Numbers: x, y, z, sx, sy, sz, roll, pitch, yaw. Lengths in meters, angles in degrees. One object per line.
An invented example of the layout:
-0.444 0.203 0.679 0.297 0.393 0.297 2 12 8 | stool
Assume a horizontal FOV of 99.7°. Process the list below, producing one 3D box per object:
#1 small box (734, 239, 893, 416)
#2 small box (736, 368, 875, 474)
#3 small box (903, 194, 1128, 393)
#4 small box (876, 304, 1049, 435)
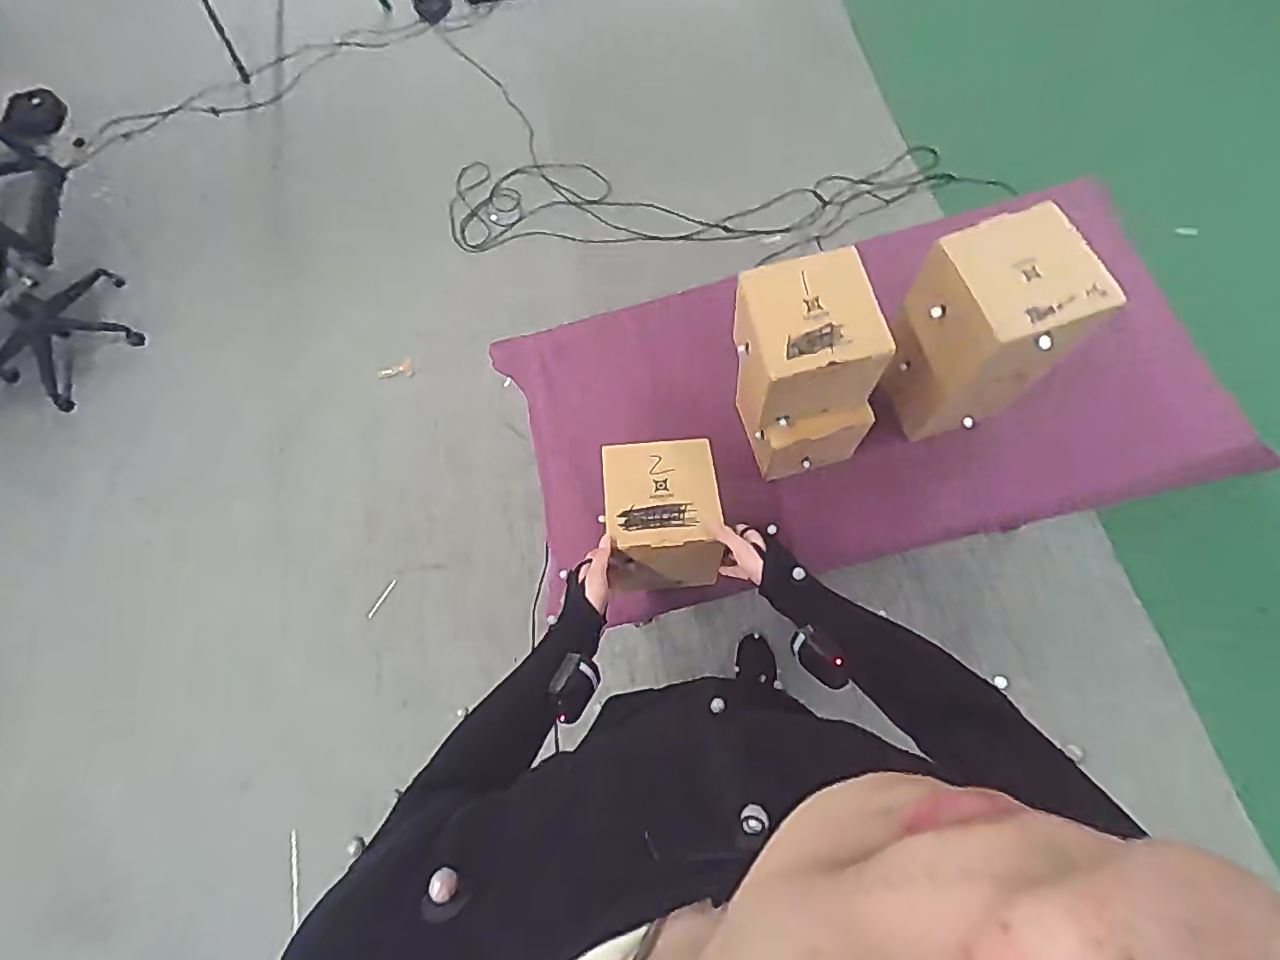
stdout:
0.237 -0.207 0.788 0.168 0.176 0.179 -13 71 3 | small box
0.271 -0.131 0.933 0.168 0.176 0.179 -17 72 2 | small box
0.506 -0.254 0.765 0.168 0.176 0.179 -19 70 2 | small box
0.527 -0.203 0.920 0.168 0.176 0.179 -18 71 2 | small box
